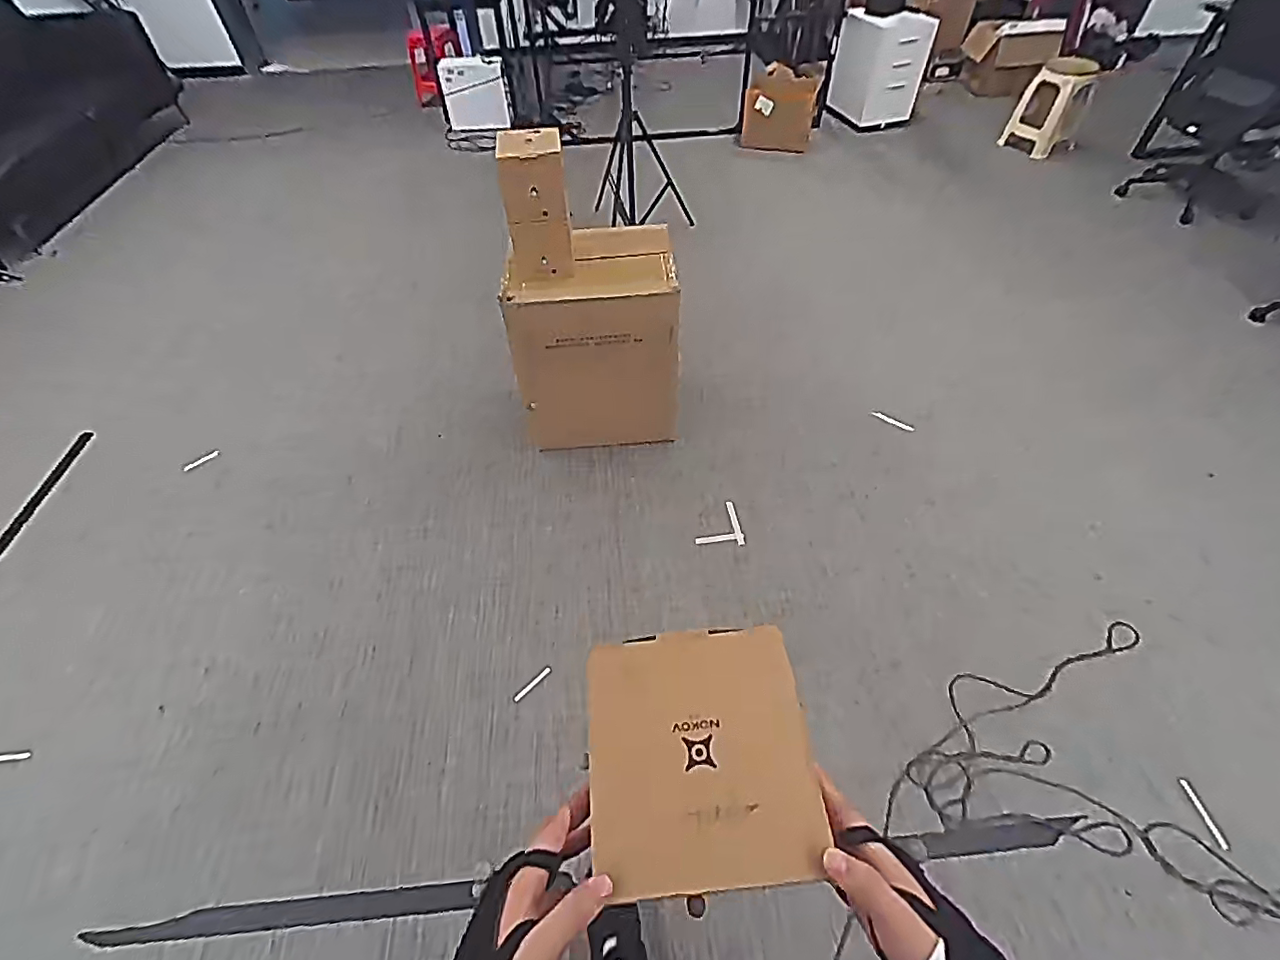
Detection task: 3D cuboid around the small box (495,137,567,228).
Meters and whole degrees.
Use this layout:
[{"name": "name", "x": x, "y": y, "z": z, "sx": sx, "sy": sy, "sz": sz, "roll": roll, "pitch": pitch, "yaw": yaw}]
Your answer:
[{"name": "small box", "x": -0.292, "y": -0.805, "z": 1.473, "sx": 0.168, "sy": 0.176, "sz": 0.179, "roll": -7, "pitch": 52, "yaw": -4}]

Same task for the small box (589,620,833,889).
[{"name": "small box", "x": 0.046, "y": 0.243, "z": 0.474, "sx": 0.168, "sy": 0.176, "sz": 0.179, "roll": -6, "pitch": 54, "yaw": 0}]

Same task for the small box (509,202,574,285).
[{"name": "small box", "x": -0.287, "y": -0.700, "z": 1.599, "sx": 0.168, "sy": 0.176, "sz": 0.179, "roll": -6, "pitch": 51, "yaw": -3}]
